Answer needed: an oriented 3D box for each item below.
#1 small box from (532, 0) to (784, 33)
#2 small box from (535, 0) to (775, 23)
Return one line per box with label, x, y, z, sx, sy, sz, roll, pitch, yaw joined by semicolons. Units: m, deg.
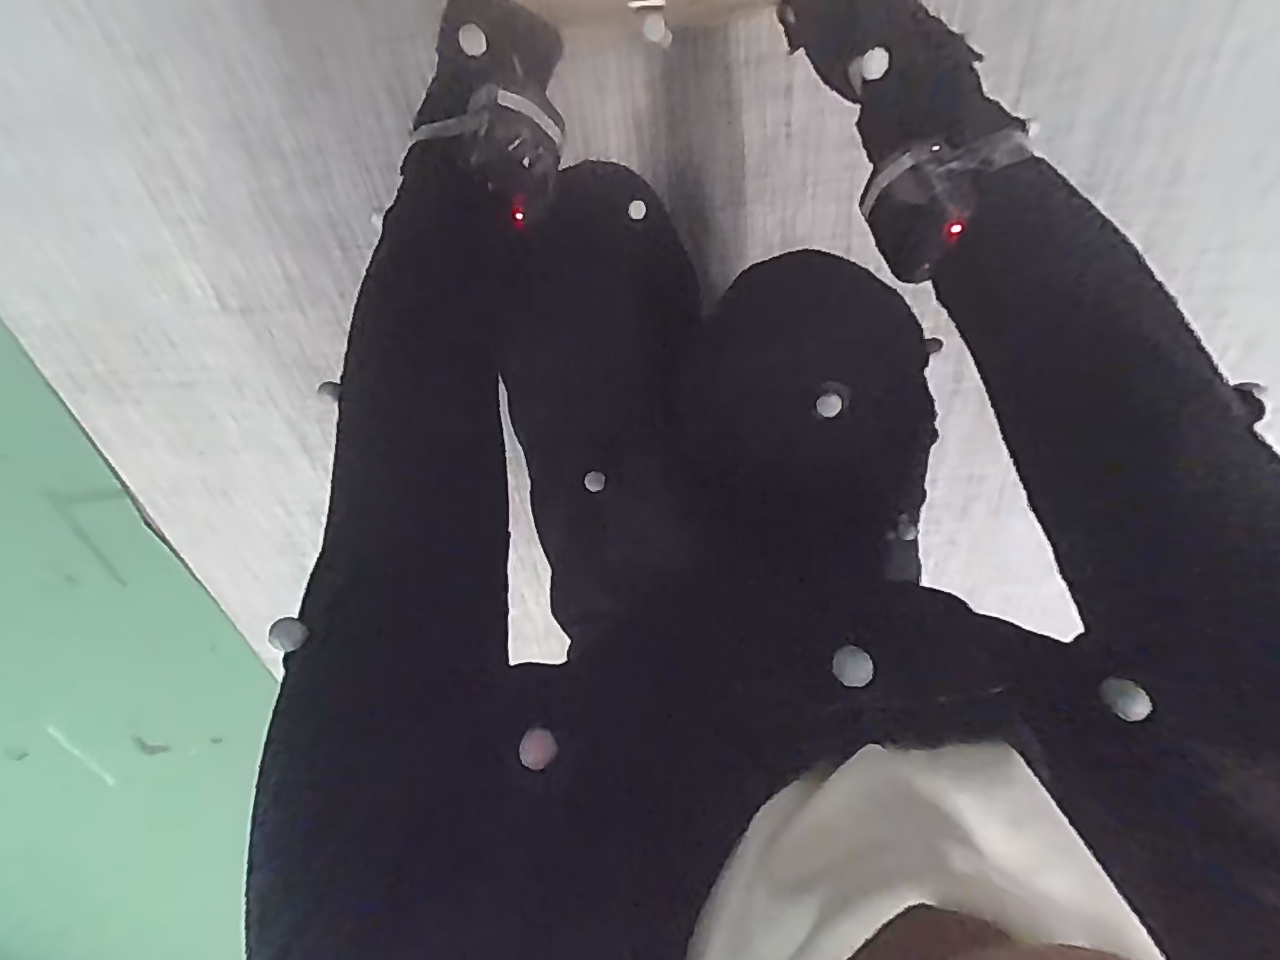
small box;0.011;-0.435;0.387;0.179;0.176;0.168;-1;126;3
small box;0.007;-0.340;0.254;0.168;0.176;0.179;-1;128;6
